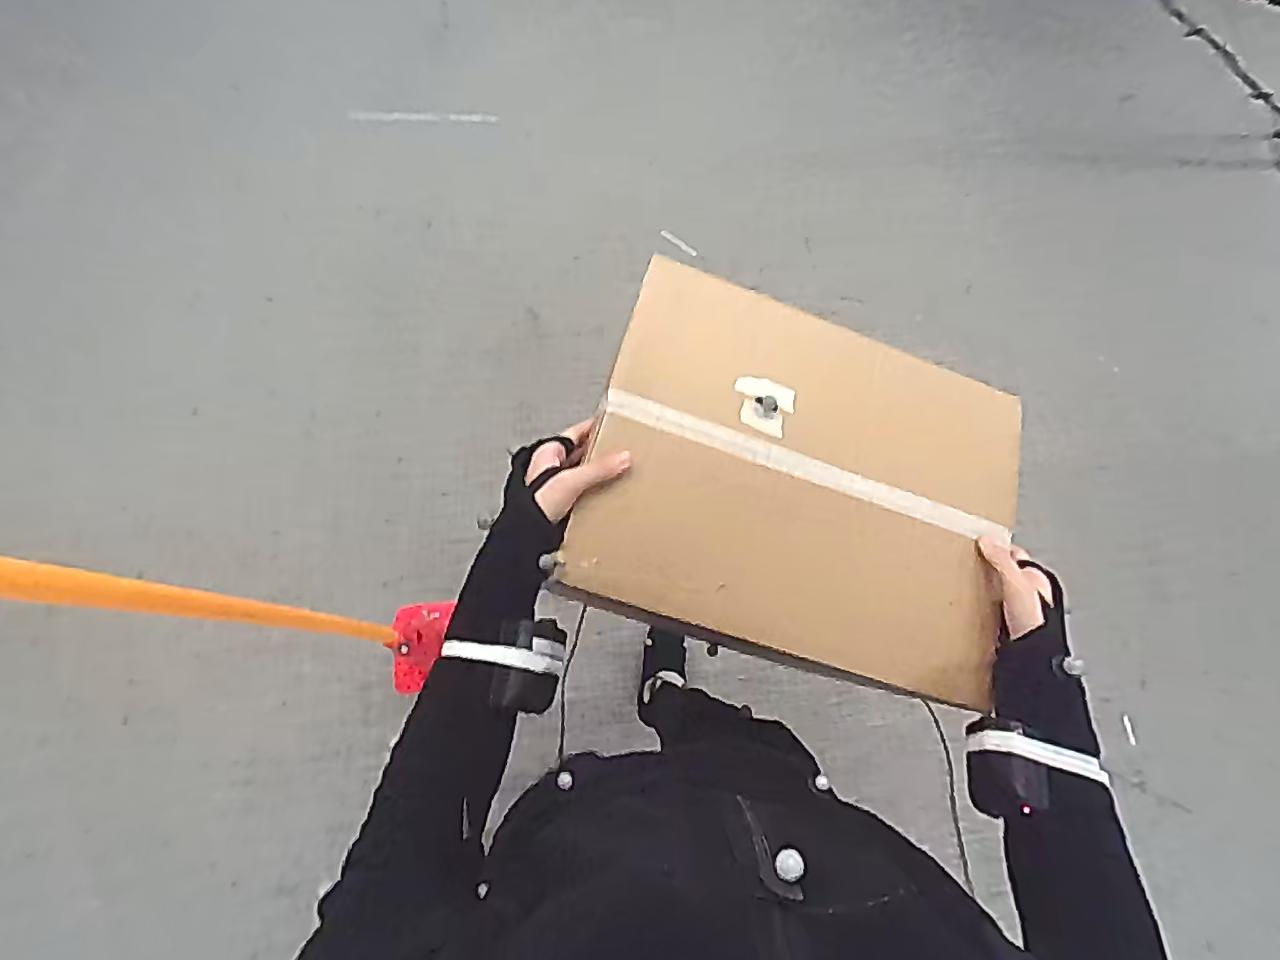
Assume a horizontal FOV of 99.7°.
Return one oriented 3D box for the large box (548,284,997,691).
[{"bbox_3d":[0.127,0.037,0.644,0.408,0.320,0.320,16,72,-7],"label":"large box"}]
